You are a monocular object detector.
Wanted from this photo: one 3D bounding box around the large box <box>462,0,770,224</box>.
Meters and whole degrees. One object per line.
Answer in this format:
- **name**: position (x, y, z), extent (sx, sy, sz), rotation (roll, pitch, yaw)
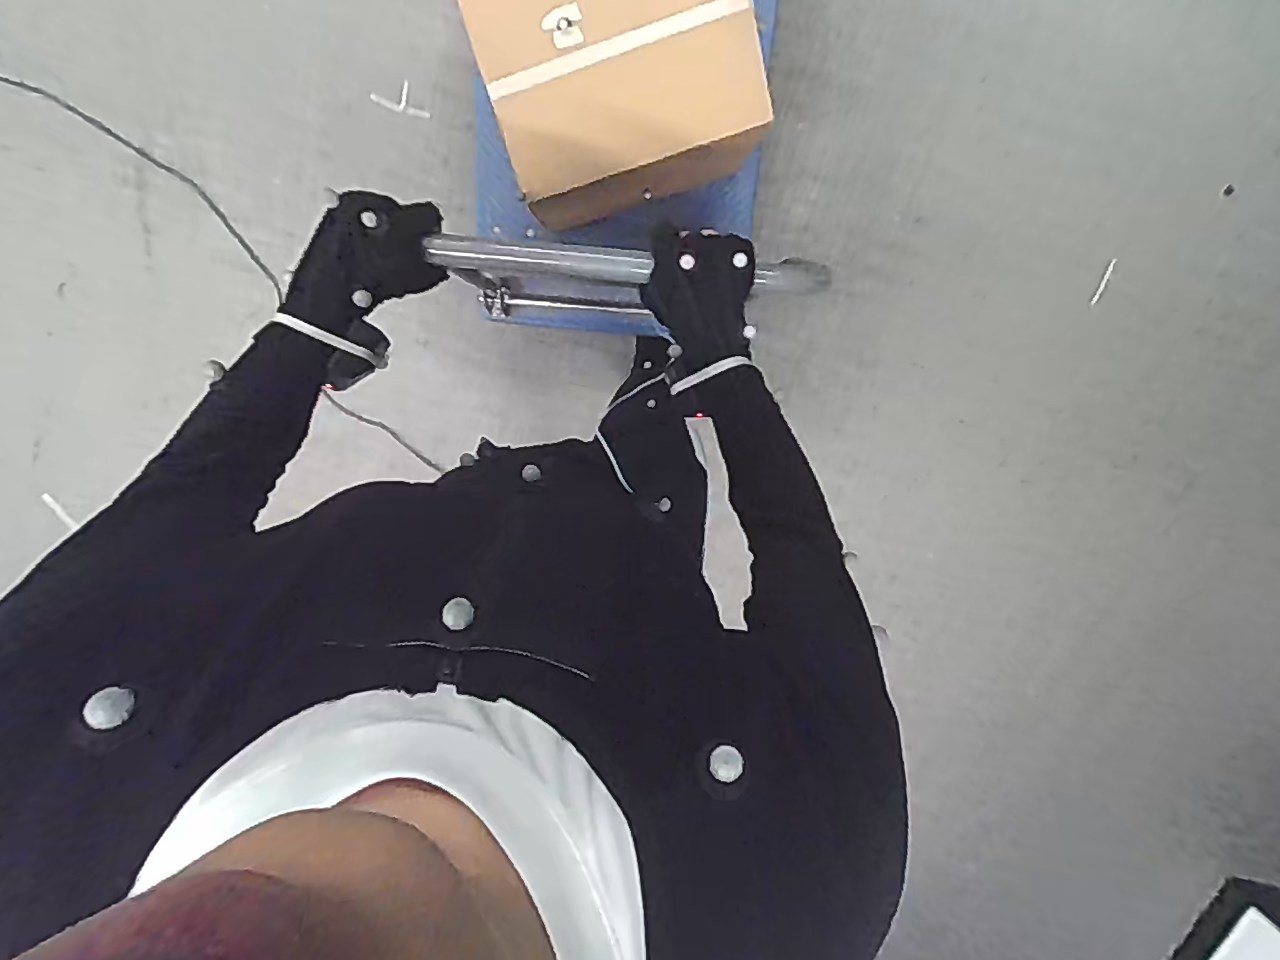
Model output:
- **large box**: position (-0.032, -0.689, 0.944), extent (0.408, 0.320, 0.320), rotation (-17, 106, 5)
